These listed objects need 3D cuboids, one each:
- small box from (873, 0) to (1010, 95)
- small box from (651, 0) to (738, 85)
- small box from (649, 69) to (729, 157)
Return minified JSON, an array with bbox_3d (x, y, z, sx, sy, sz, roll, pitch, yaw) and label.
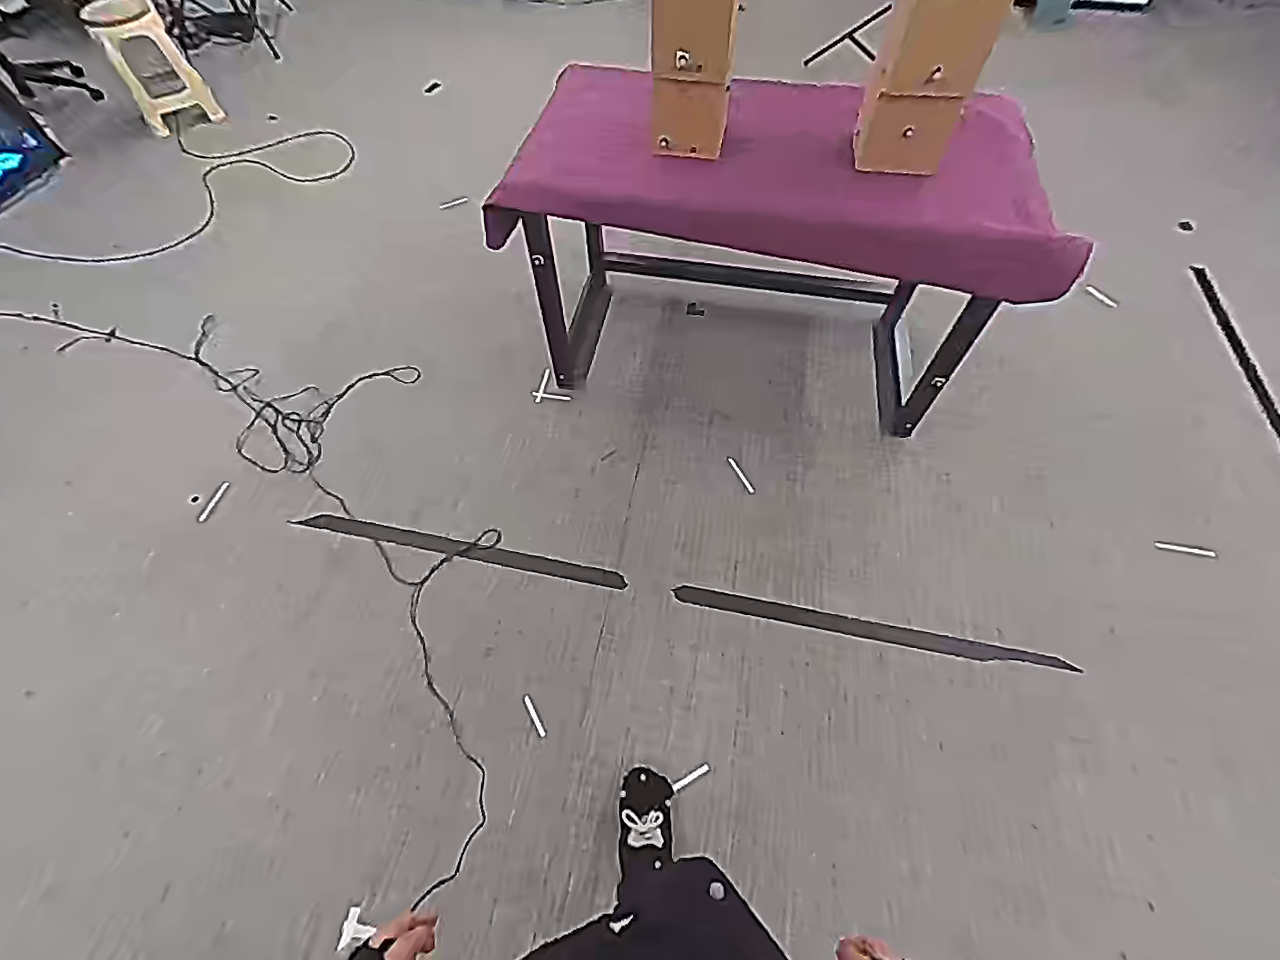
[{"bbox_3d":[0.592,-0.902,1.084,0.179,0.176,0.168,5,58,4],"label":"small box"},{"bbox_3d":[0.116,-0.969,1.134,0.168,0.176,0.179,8,60,7],"label":"small box"},{"bbox_3d":[0.118,-0.895,1.279,0.168,0.176,0.179,9,59,6],"label":"small box"}]
